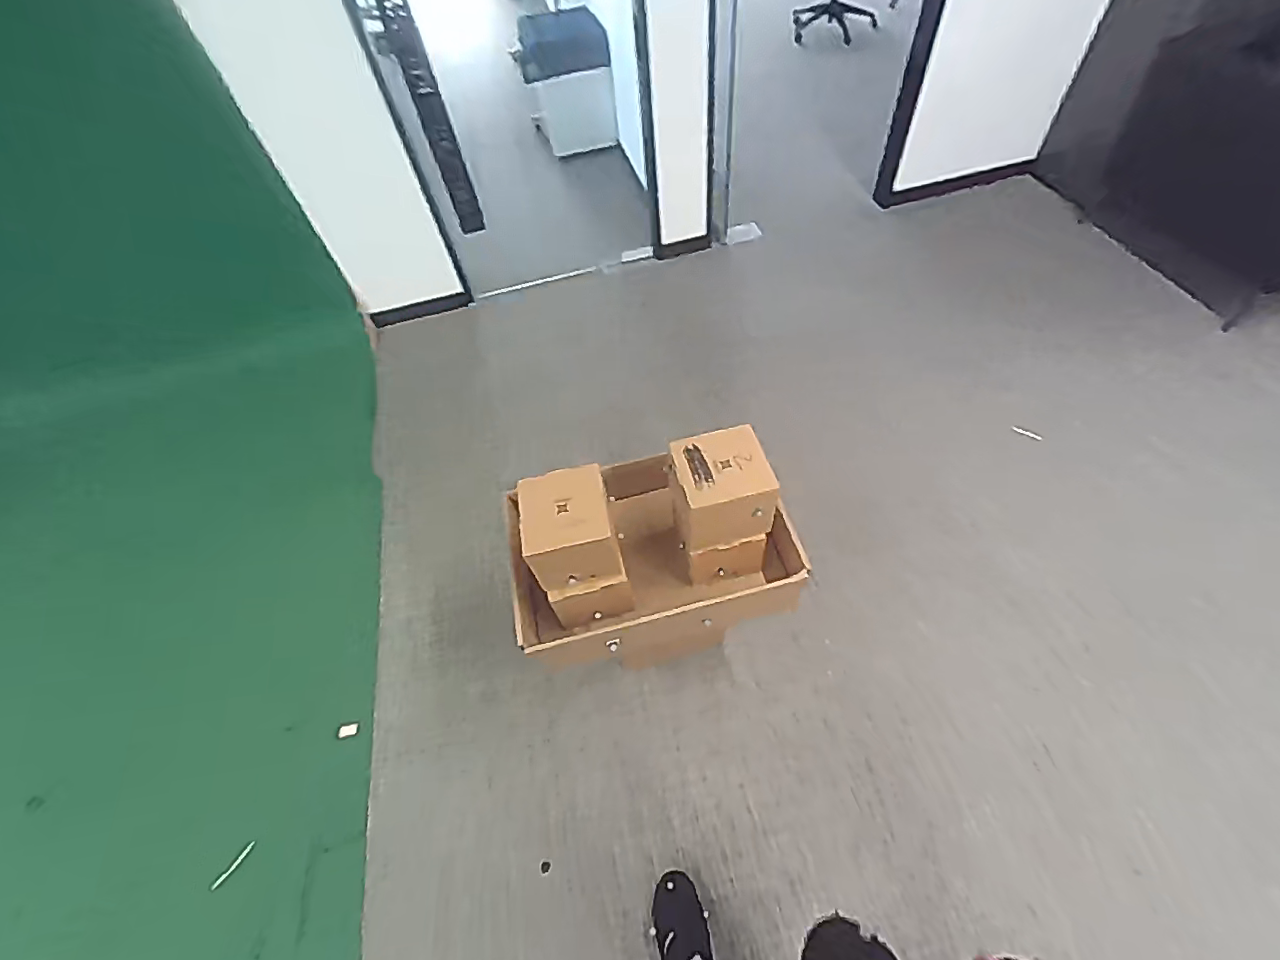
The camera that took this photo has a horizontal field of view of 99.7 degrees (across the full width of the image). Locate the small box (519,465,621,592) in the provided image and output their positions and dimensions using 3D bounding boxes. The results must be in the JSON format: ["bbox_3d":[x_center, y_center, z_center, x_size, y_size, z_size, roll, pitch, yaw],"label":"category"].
[{"bbox_3d":[-0.139,0.099,1.084,0.168,0.176,0.179,-12,54,-1],"label":"small box"}]
